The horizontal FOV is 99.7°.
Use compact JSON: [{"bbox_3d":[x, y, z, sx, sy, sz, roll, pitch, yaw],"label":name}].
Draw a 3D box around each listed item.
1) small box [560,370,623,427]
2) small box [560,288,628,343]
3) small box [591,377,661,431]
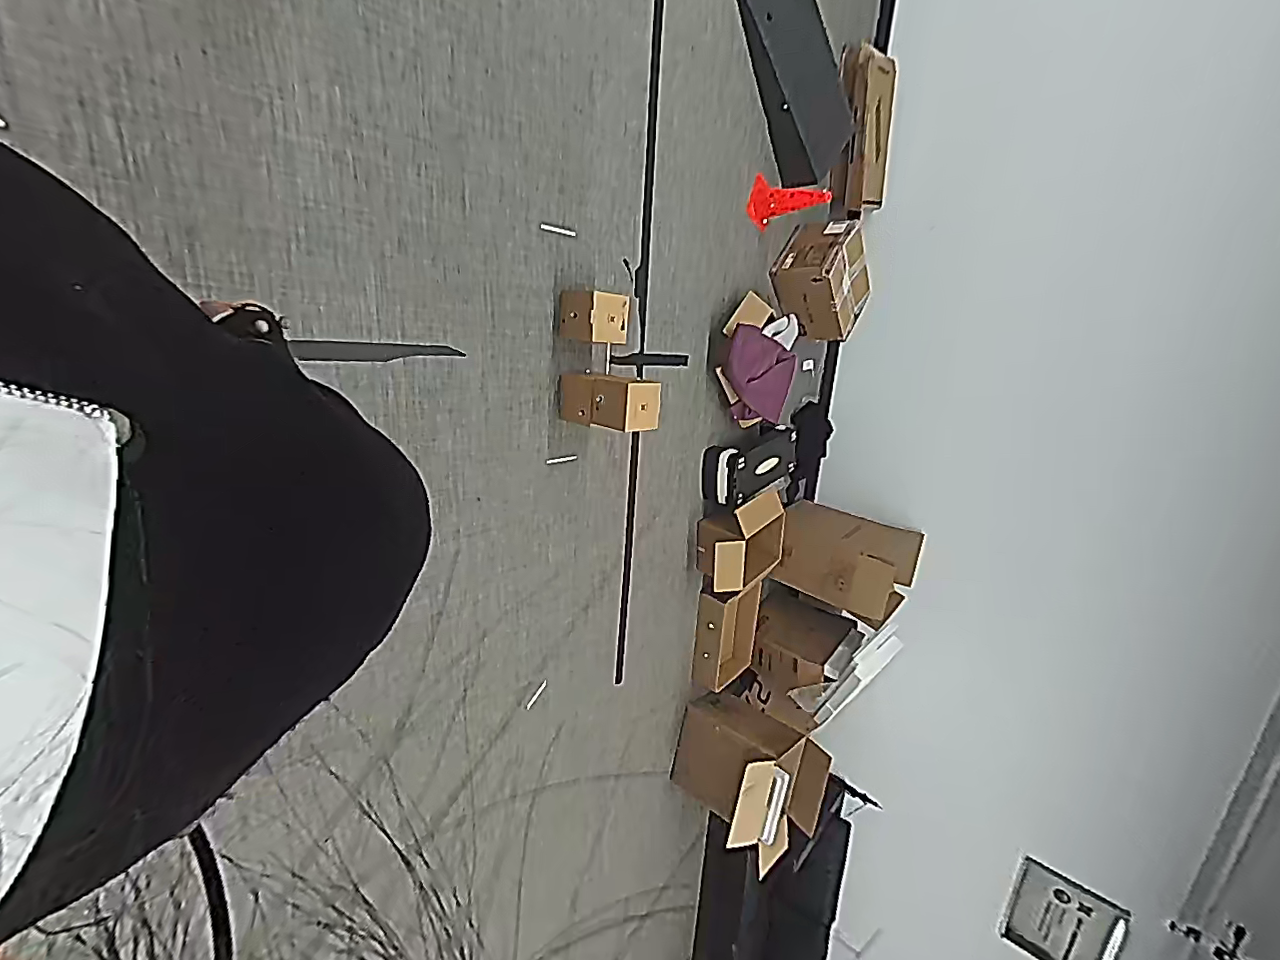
[{"bbox_3d":[-0.179,-0.303,1.985,0.168,0.176,0.179,-16,116,-47],"label":"small box"},{"bbox_3d":[-0.164,-0.576,1.898,0.179,0.176,0.168,-11,112,-47],"label":"small box"},{"bbox_3d":[-0.049,-0.271,1.892,0.179,0.176,0.168,-13,113,-46],"label":"small box"}]
